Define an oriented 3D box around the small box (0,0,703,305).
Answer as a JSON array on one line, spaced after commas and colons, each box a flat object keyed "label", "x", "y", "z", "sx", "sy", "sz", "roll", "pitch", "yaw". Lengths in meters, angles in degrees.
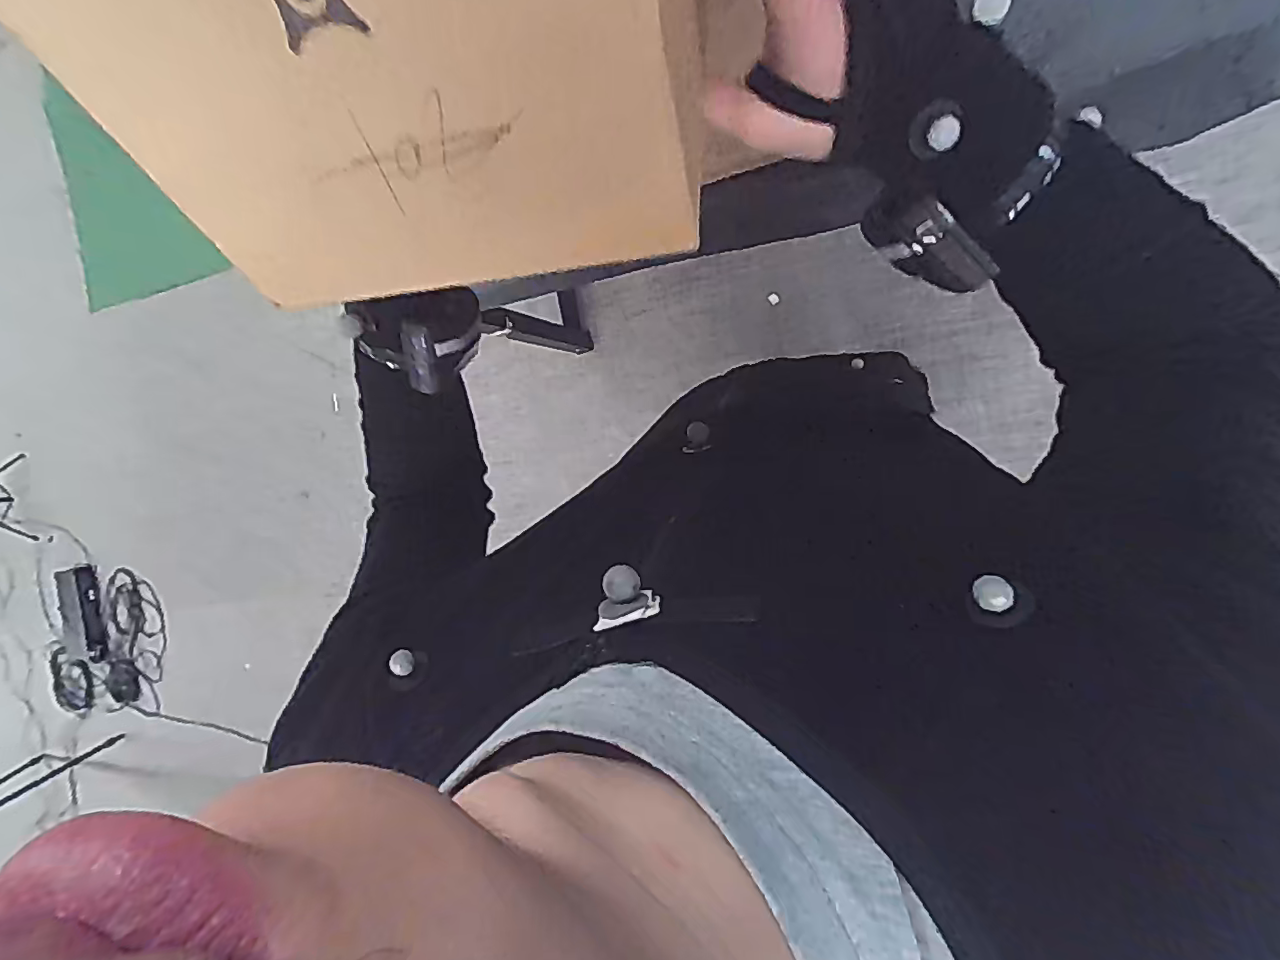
[{"label": "small box", "x": -0.075, "y": -0.184, "z": 0.159, "sx": 0.168, "sy": 0.179, "sz": 0.176, "roll": -2, "pitch": 59, "yaw": 15}]
